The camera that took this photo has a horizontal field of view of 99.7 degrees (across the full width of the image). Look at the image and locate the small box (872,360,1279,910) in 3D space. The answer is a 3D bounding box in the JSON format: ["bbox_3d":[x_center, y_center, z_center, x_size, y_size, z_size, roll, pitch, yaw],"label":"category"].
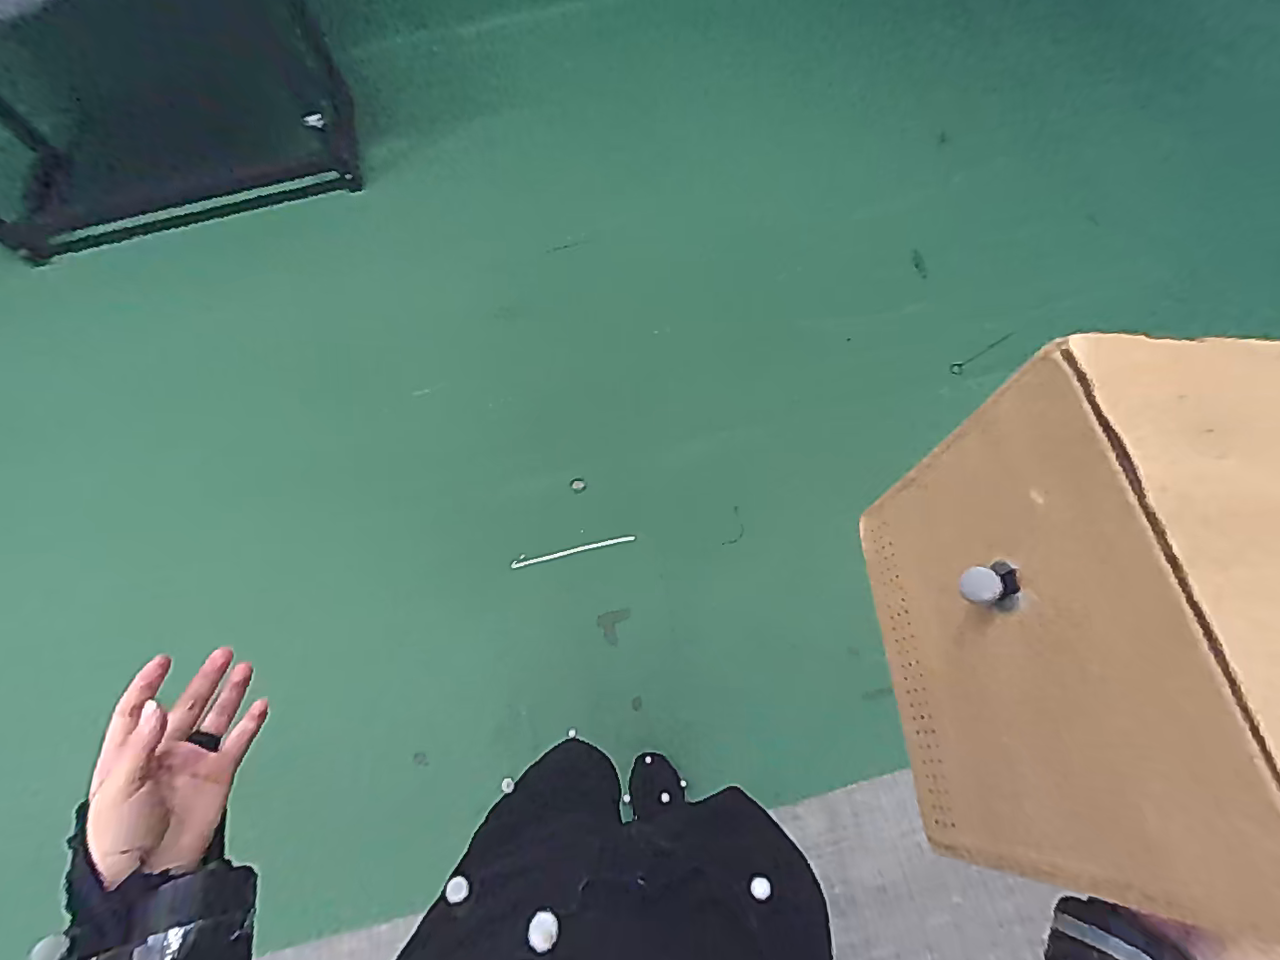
[{"bbox_3d":[0.229,0.070,0.240,0.168,0.176,0.179,0,61,-4],"label":"small box"}]
